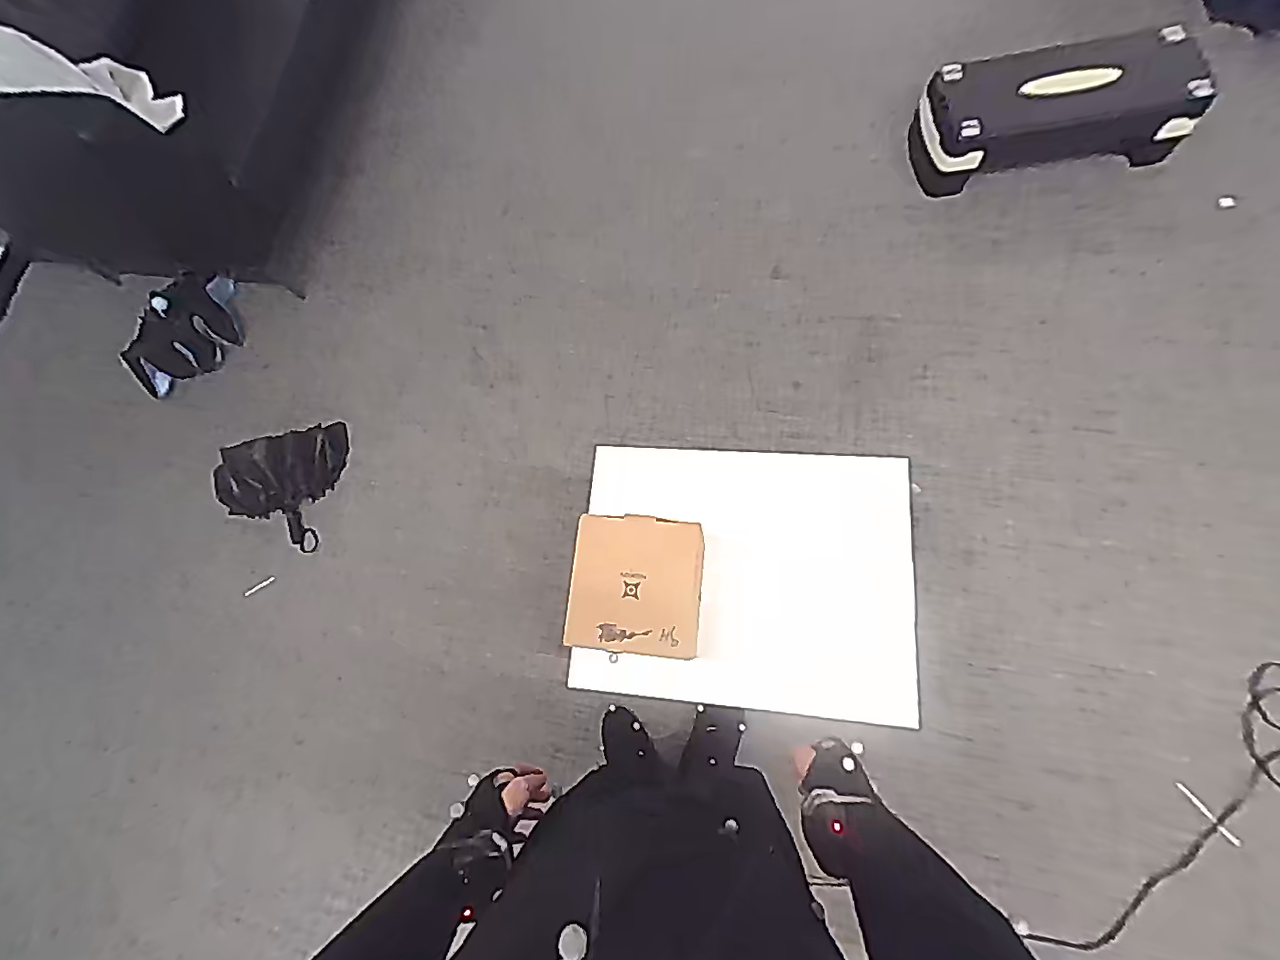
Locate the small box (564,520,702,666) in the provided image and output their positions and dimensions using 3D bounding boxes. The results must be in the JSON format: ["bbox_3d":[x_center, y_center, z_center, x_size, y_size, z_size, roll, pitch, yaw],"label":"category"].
[{"bbox_3d":[0.001,0.167,0.776,0.168,0.176,0.179,3,72,9],"label":"small box"}]
